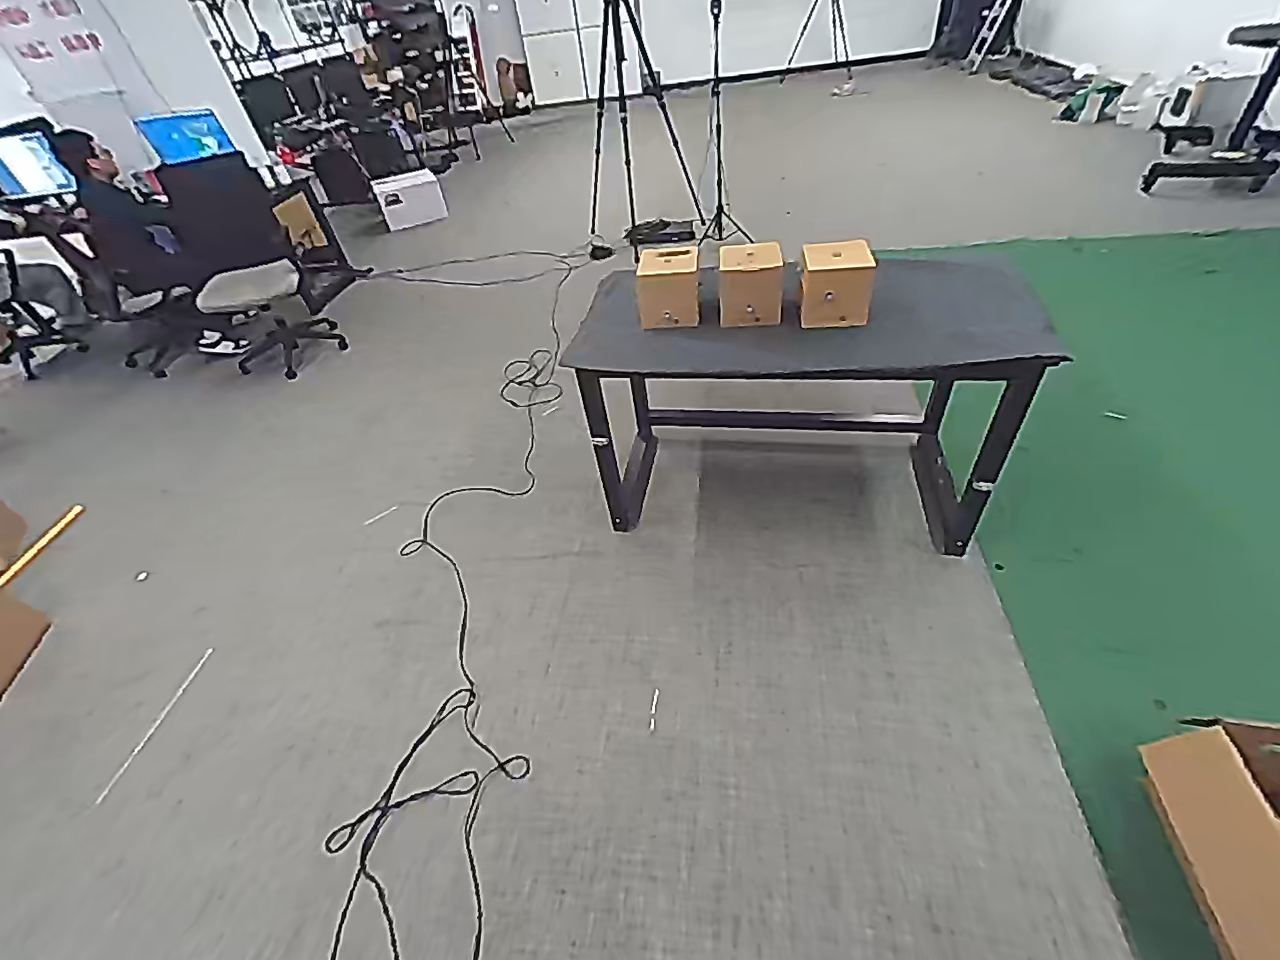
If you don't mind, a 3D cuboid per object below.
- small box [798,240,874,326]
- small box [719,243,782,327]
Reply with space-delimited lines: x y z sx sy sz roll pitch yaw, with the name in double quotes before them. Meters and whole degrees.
"small box" 0.523 -0.528 1.465 0.168 0.176 0.179 0 43 10
"small box" 0.307 -0.549 1.523 0.168 0.176 0.179 -1 43 10
